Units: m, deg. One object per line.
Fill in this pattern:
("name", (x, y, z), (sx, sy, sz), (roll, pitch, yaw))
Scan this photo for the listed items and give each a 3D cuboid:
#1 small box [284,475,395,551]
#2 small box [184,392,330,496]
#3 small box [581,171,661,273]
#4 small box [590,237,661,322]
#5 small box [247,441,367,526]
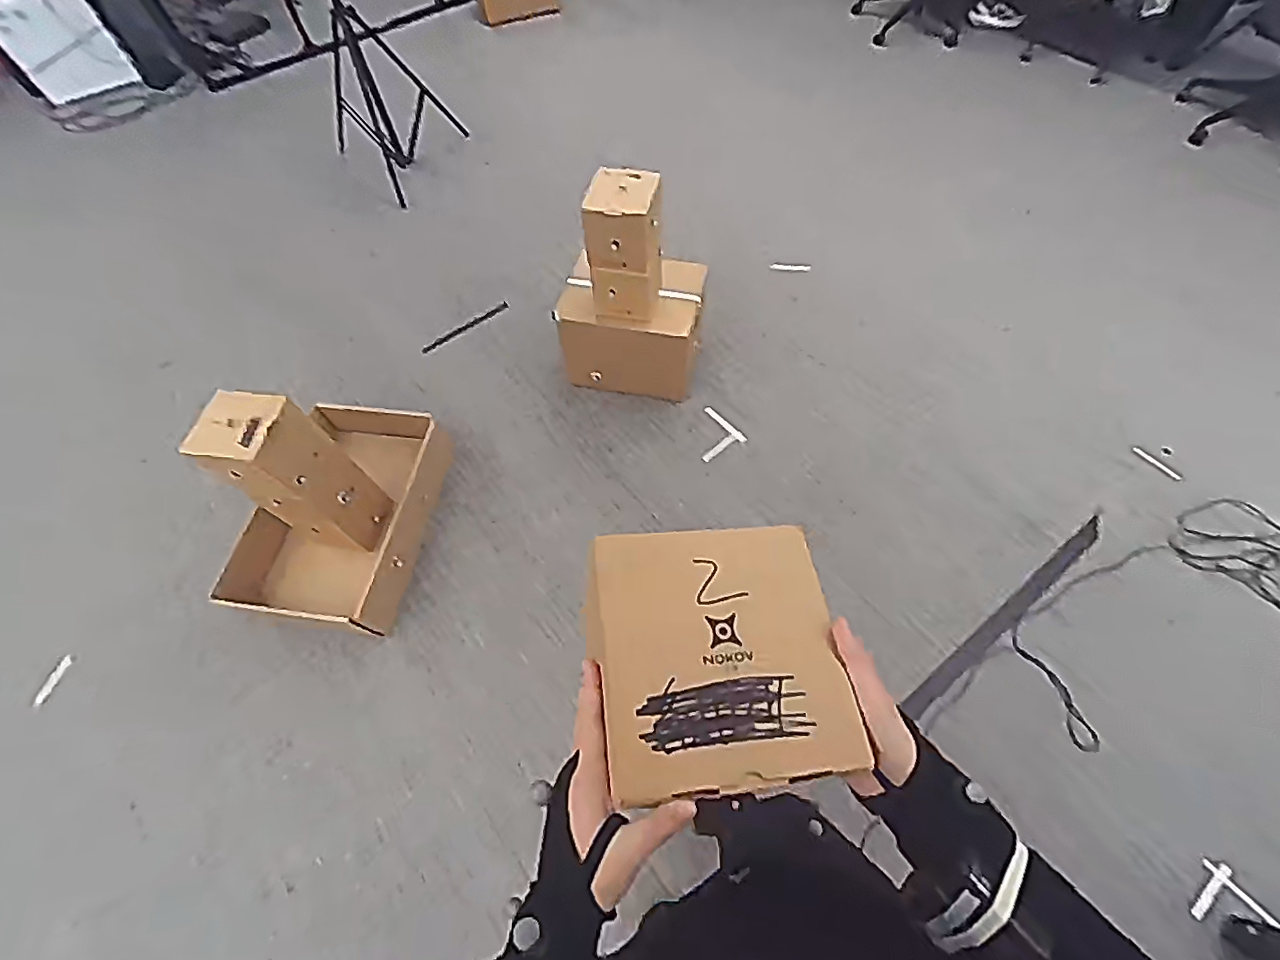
("small box", (-0.826, 0.085, 1.505), (0.179, 0.176, 0.168), (9, 62, 8))
("small box", (-0.848, -0.075, 1.221), (0.179, 0.176, 0.168), (6, 62, 8))
("small box", (-0.041, -0.664, 1.401), (0.168, 0.176, 0.179), (11, 62, 8))
("small box", (-0.033, -0.575, 1.540), (0.168, 0.176, 0.179), (10, 62, 8))
("small box", (-0.835, 0.004, 1.364), (0.179, 0.176, 0.168), (8, 62, 7))
